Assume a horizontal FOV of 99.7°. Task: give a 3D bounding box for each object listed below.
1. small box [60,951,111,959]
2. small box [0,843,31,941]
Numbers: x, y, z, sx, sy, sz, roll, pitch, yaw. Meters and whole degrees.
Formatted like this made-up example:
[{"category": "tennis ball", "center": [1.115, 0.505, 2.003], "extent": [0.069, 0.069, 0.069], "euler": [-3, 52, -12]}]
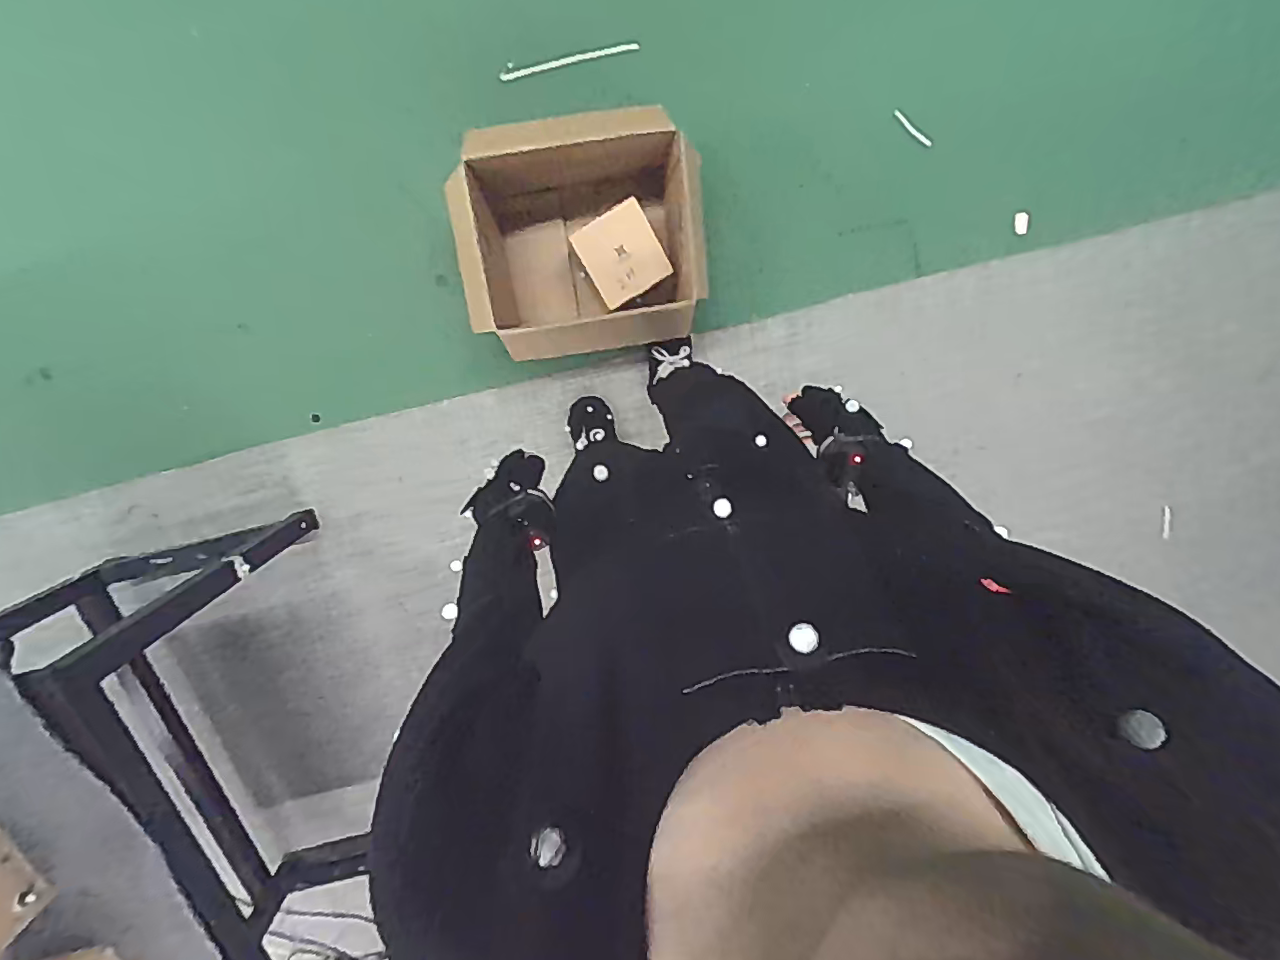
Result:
[{"category": "small box", "center": [-0.942, 0.882, 0.828], "extent": [0.179, 0.176, 0.168], "euler": [-15, 105, 0]}, {"category": "small box", "center": [-1.026, 0.624, 0.748], "extent": [0.179, 0.176, 0.168], "euler": [-15, 106, 1]}]
